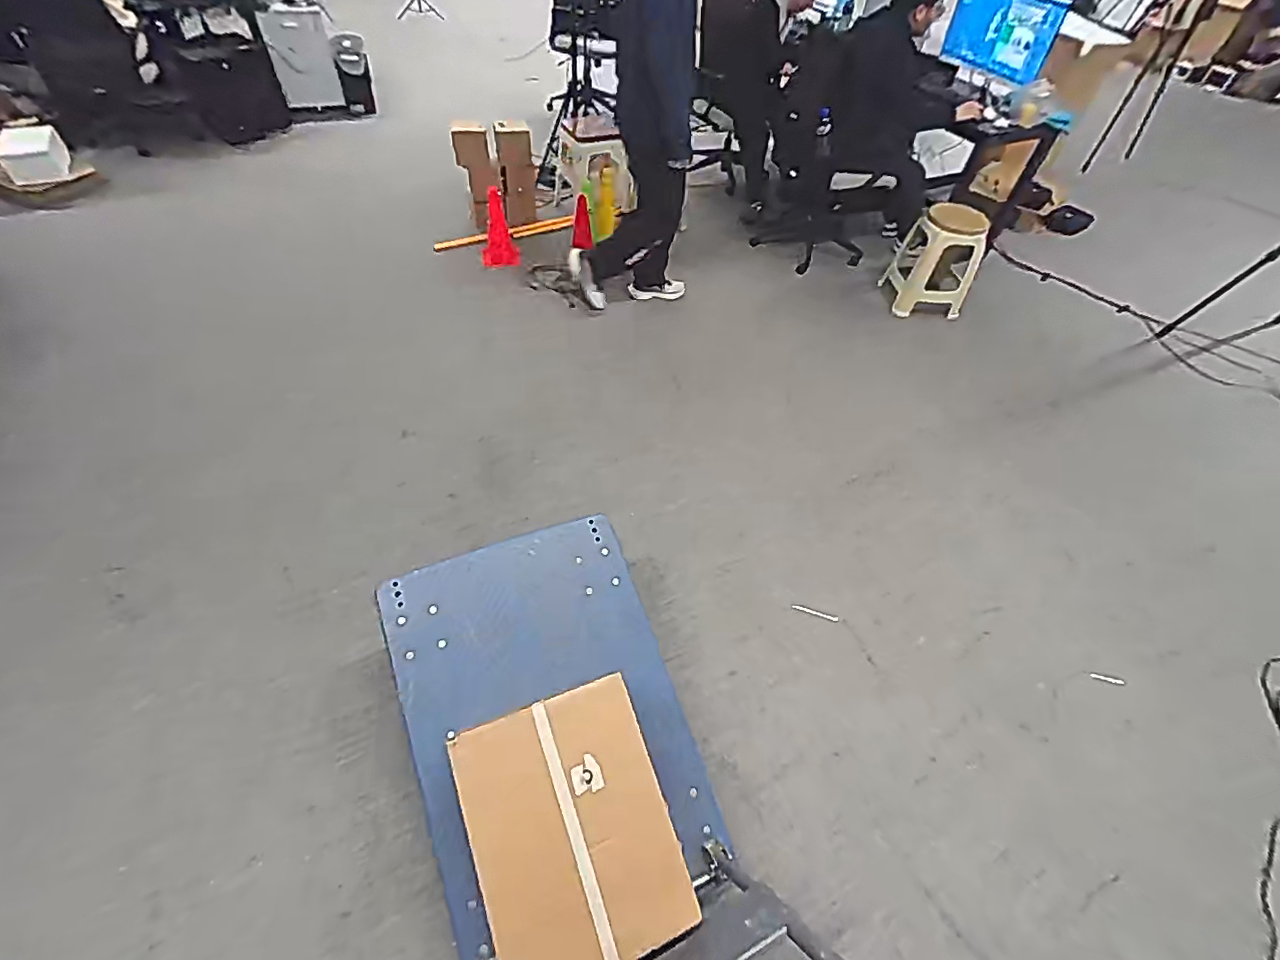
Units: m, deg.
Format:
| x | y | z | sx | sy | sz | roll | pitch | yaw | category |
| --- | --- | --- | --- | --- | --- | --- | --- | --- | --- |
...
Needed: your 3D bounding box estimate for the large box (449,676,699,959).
| x | y | z | sx | sy | sz | roll | pitch | yaw | category |
| --- | --- | --- | --- | --- | --- | --- | --- | --- | --- |
| -0.136 | 0.632 | 1.029 | 0.320 | 0.320 | 0.408 | -16 | 71 | -17 | large box |
